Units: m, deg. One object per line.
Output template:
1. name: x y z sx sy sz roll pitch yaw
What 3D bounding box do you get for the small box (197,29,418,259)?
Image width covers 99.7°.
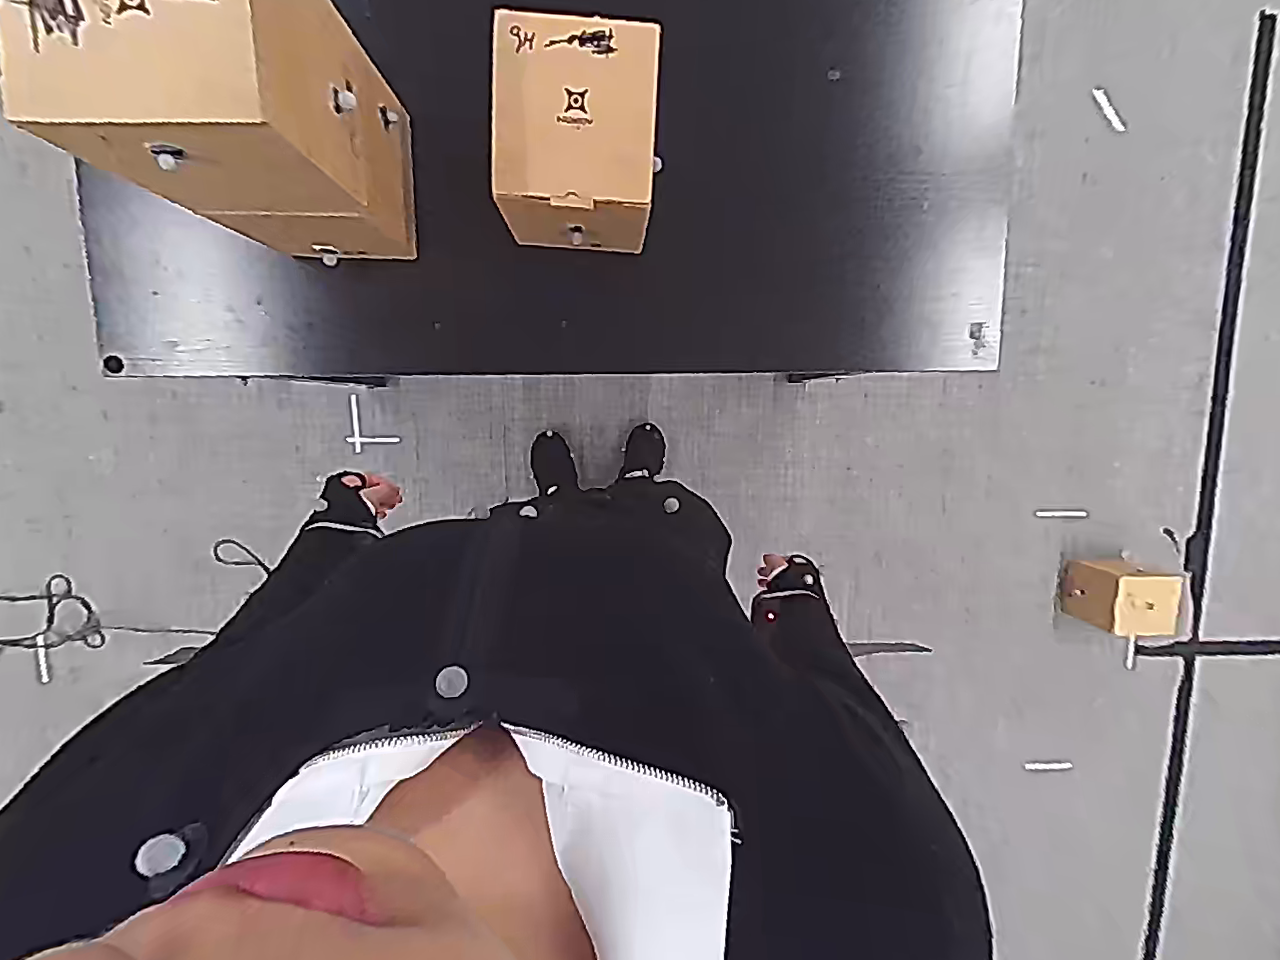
1. small box: -0.365 -0.365 0.612 0.168 0.176 0.179 -1 98 -2

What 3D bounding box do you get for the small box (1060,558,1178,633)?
1. small box: 1.345 0.321 1.528 0.179 0.176 0.168 1 97 -3

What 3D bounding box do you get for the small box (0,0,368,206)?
1. small box: -0.356 -0.342 0.449 0.179 0.176 0.168 -2 97 -3

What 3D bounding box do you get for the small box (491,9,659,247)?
1. small box: -0.070 -0.384 0.625 0.168 0.176 0.179 3 98 -3
